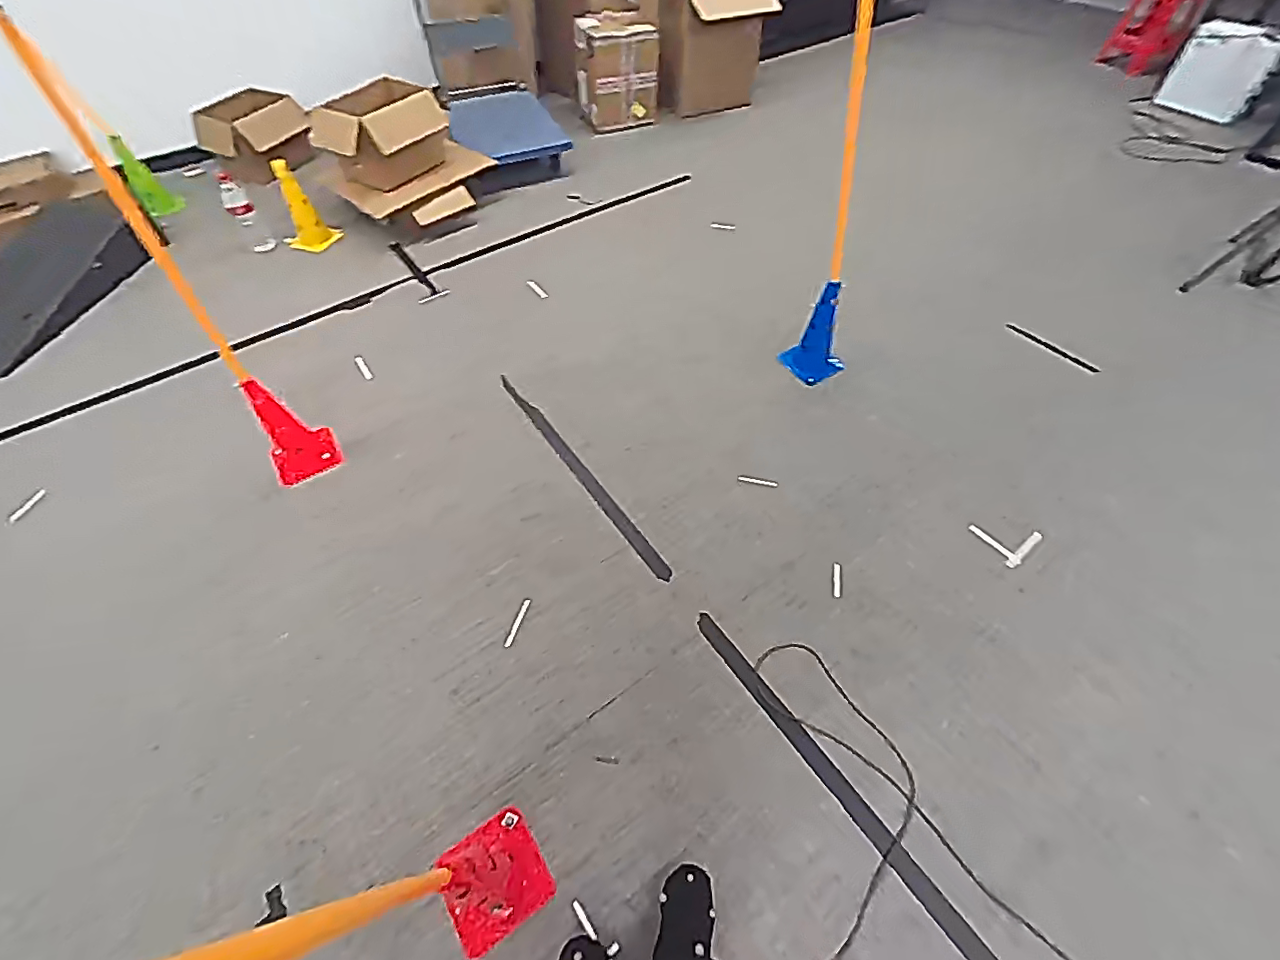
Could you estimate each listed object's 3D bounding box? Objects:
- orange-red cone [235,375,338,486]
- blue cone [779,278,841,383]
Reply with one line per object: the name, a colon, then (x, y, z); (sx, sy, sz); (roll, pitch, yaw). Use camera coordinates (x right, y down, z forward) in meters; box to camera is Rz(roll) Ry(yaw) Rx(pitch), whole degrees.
orange-red cone: (-1.135, -0.183, 1.678); (0.198, 0.360, 0.199); (-28, 57, -19)
blue cone: (0.652, -0.559, 1.956); (0.193, 0.380, 0.192); (-28, 58, -18)
